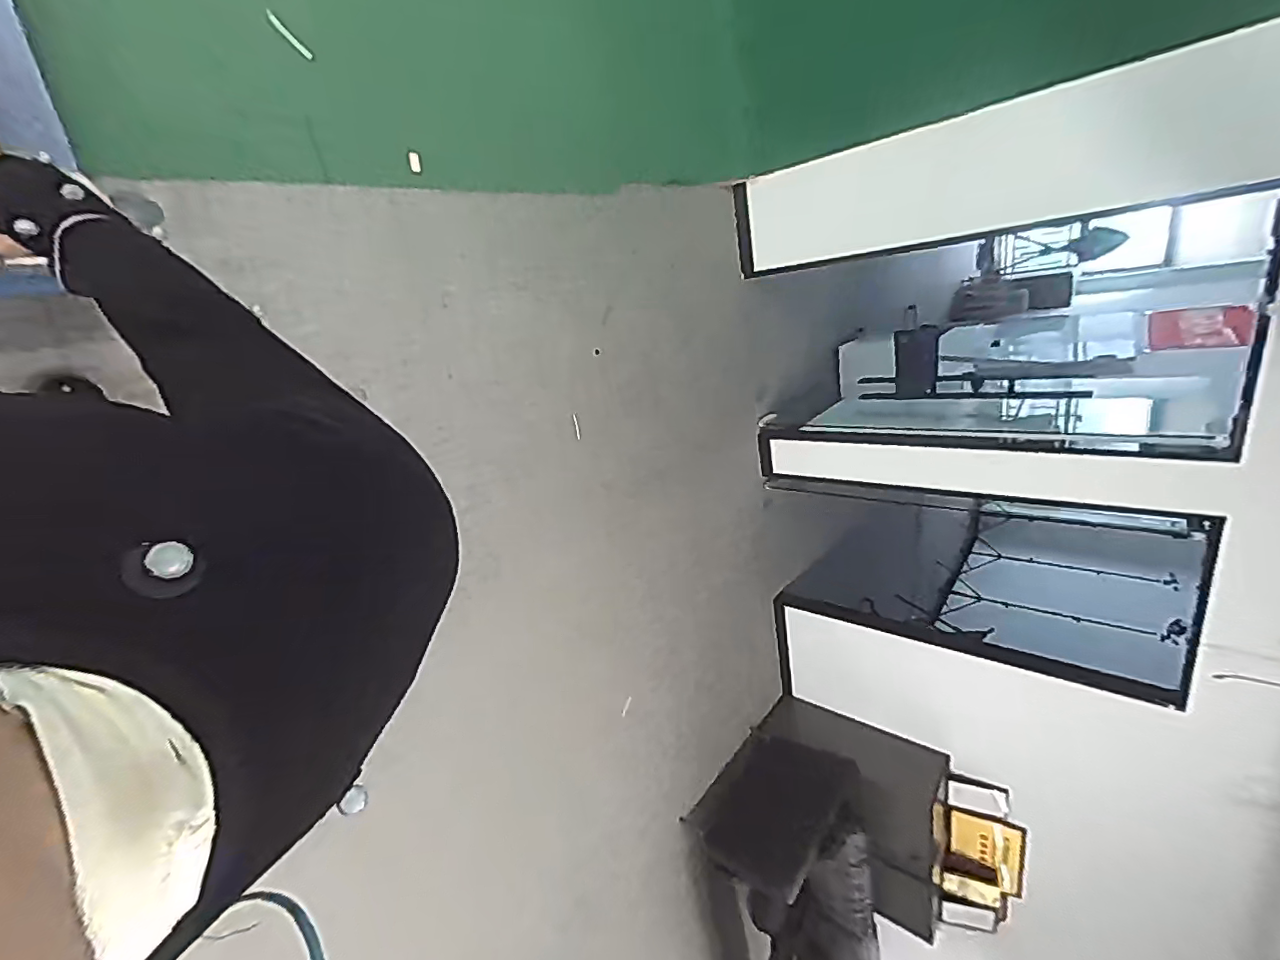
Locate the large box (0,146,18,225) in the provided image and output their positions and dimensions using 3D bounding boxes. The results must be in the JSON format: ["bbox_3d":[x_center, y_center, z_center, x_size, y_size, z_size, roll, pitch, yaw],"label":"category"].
[{"bbox_3d":[-1.125,-0.571,0.700,0.320,0.320,0.408,-26,114,-44],"label":"large box"}]
